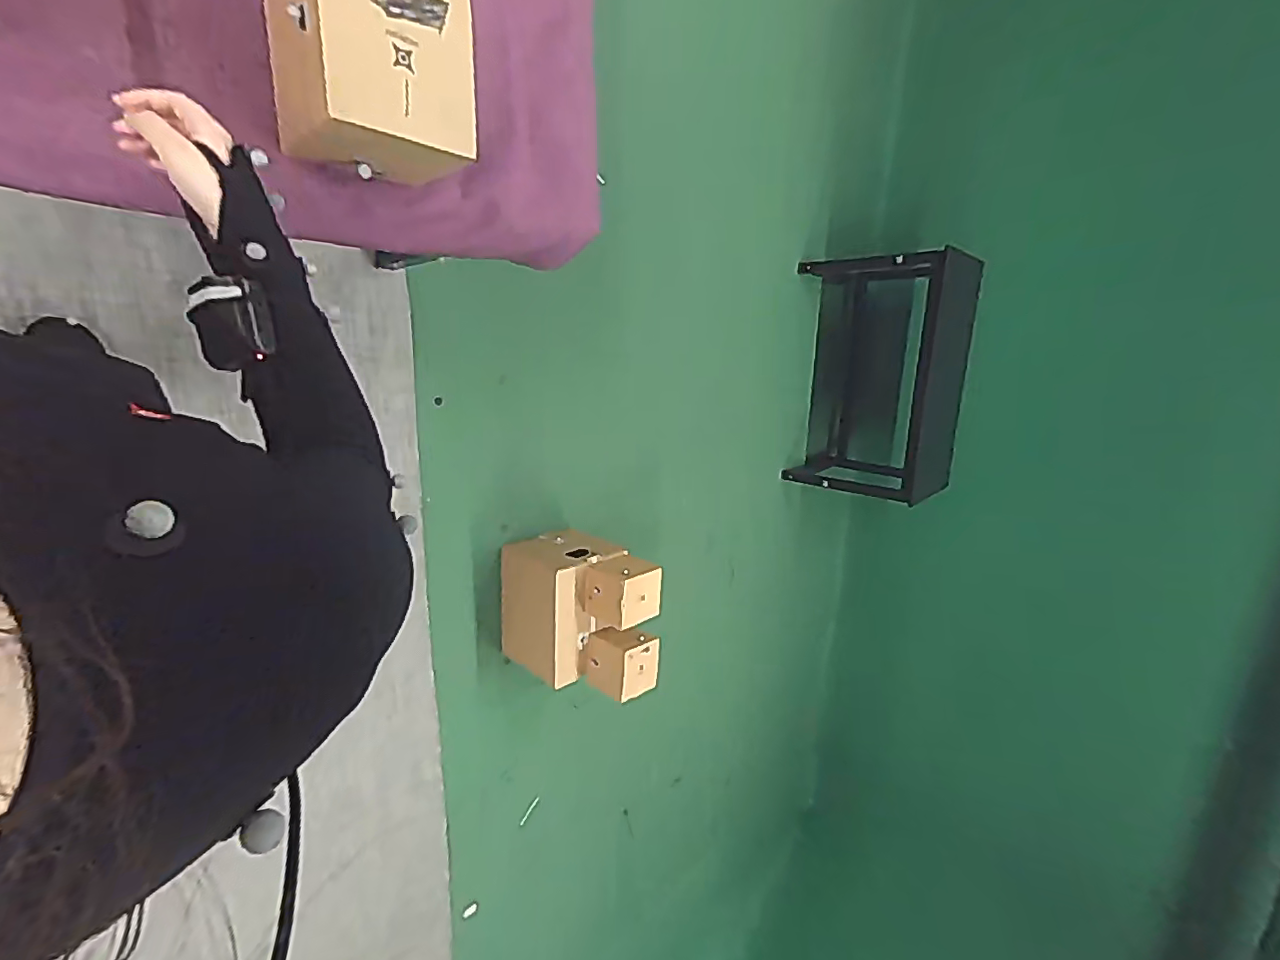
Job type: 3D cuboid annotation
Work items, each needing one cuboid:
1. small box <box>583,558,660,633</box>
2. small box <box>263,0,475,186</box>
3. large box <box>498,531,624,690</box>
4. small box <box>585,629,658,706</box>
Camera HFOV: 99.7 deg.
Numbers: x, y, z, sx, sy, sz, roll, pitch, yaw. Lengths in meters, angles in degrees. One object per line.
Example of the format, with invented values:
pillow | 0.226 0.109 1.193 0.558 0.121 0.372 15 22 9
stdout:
small box | -0.060 0.359 1.724 0.179 0.176 0.168 -10 108 -46
small box | -0.308 -0.464 0.618 0.168 0.176 0.179 -12 108 -45
large box | -0.276 0.427 1.871 0.320 0.320 0.408 -10 108 -45
small box | -0.066 0.602 1.777 0.168 0.176 0.179 -3 102 -48
